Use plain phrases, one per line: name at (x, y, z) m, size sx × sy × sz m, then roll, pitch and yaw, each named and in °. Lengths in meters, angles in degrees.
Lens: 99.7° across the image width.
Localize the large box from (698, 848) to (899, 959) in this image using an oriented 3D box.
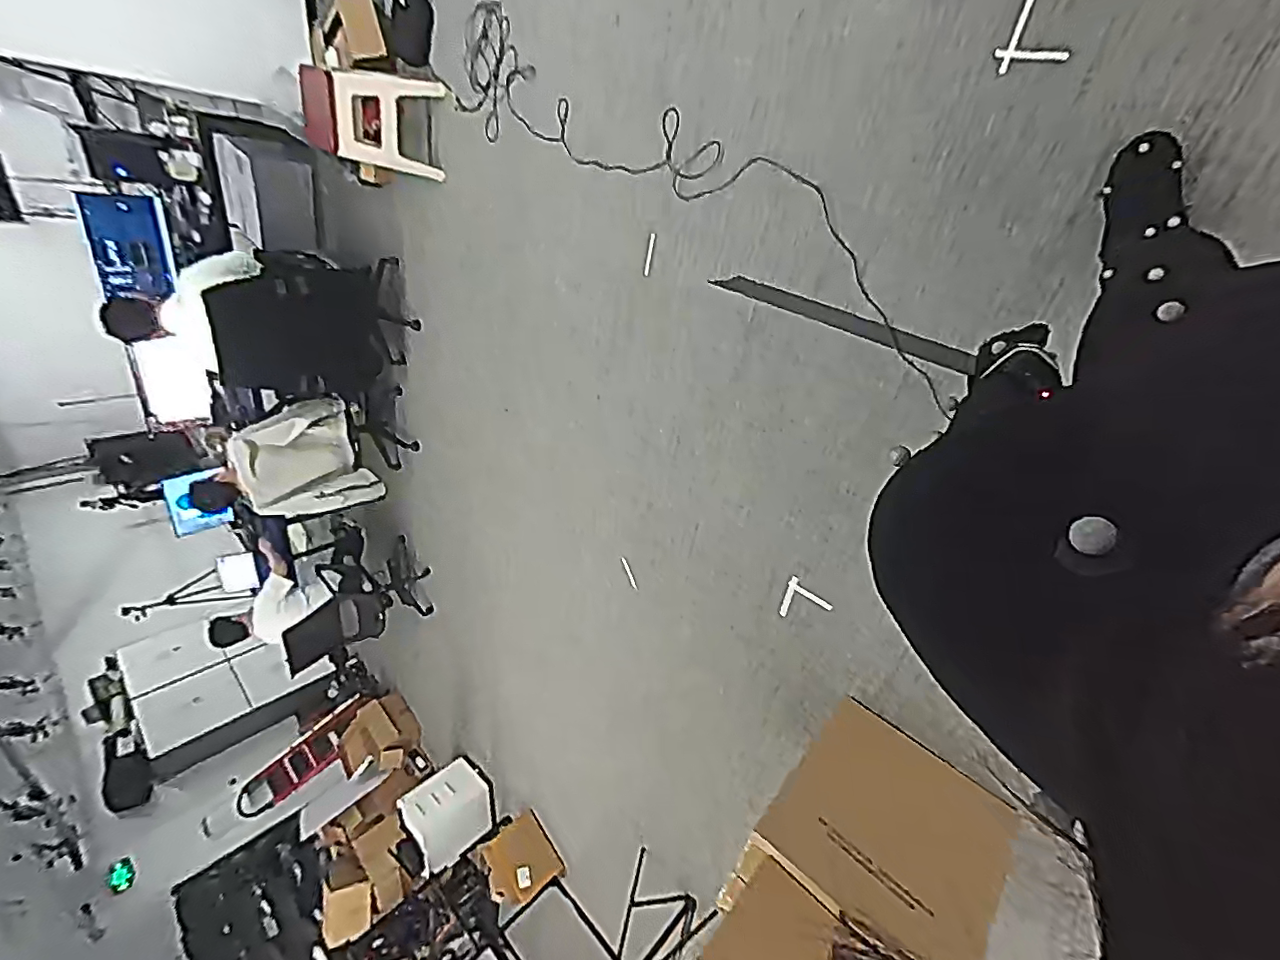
large box at (0.365, 1.178, 1.232) m, size 0.408 × 0.320 × 0.320 m, roll 30°, pitch 125°, yaw 34°
